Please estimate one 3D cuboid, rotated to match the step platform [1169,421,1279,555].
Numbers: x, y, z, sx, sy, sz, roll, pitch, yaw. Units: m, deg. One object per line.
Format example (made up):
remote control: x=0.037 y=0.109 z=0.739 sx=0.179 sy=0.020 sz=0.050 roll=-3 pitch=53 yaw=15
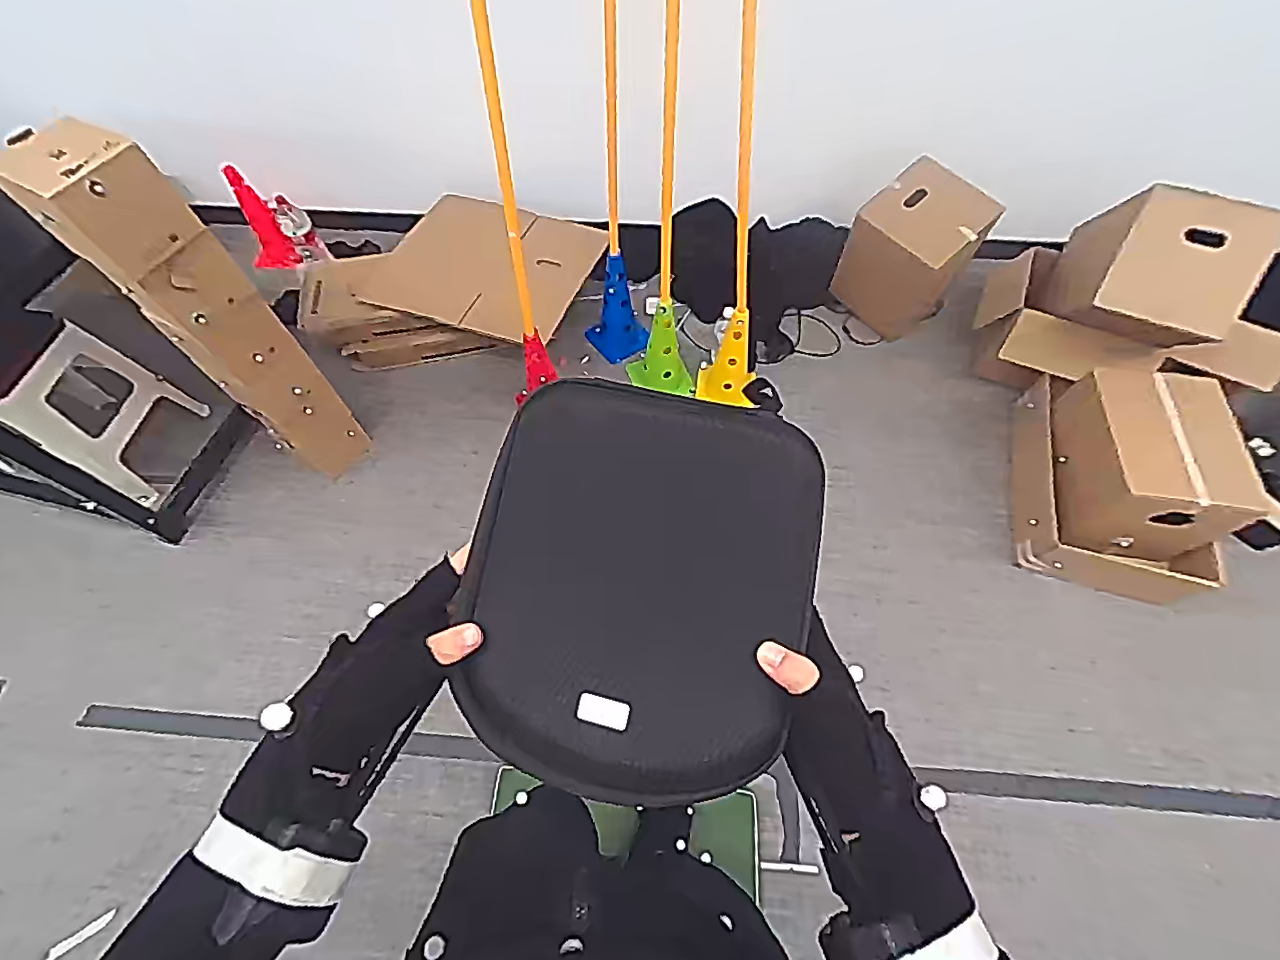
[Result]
step platform: x=1.994 y=-0.041 z=1.614 sx=0.684 sy=0.204 sz=0.286 roll=-22 pitch=63 yaw=-11
